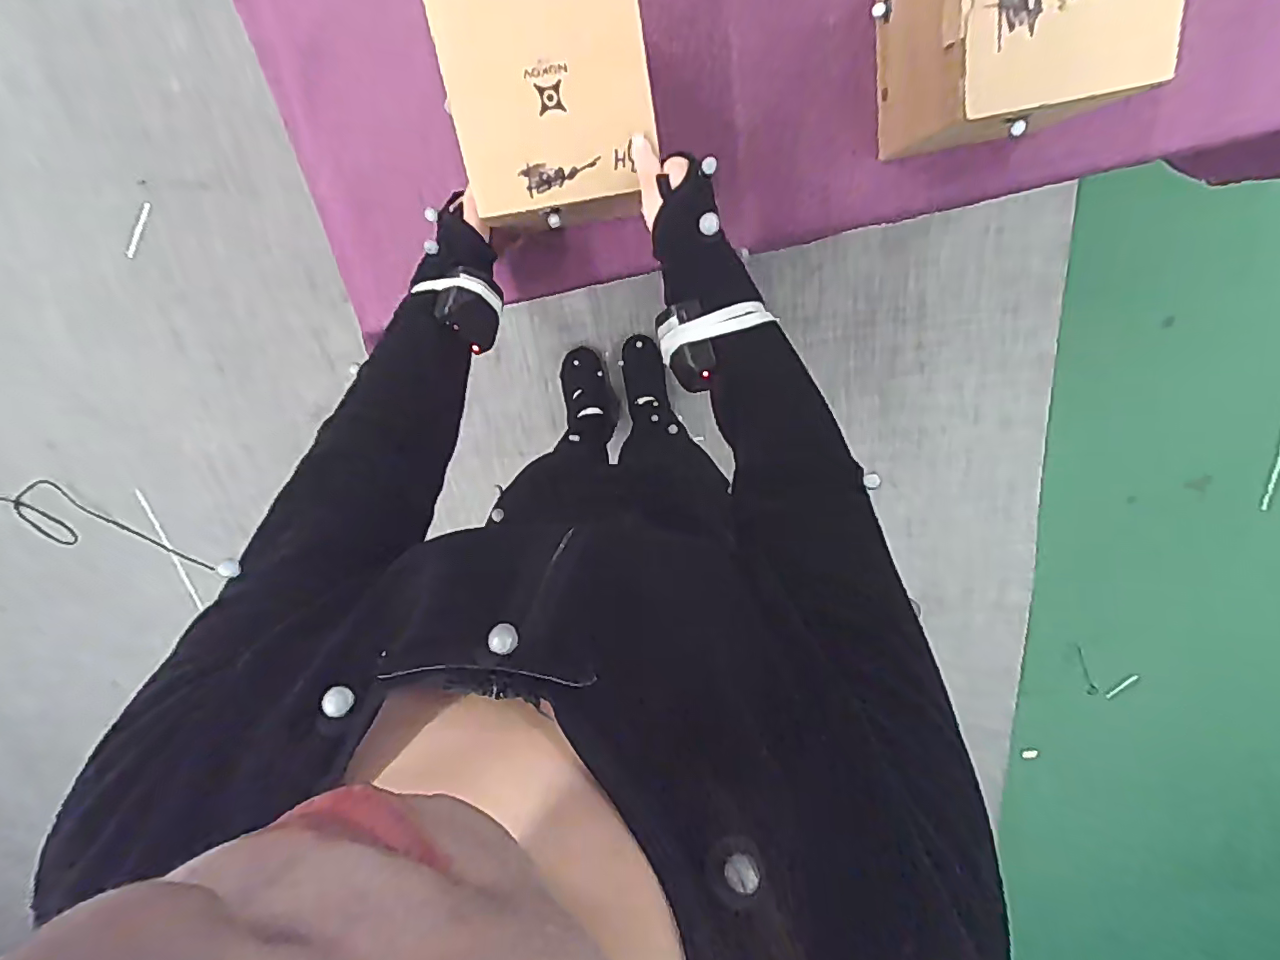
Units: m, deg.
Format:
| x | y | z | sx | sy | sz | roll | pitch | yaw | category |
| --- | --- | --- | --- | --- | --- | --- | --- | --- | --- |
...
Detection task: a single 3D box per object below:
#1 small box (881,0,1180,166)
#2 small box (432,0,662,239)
| x | y | z | sx | sy | sz | roll | pitch | yaw | category |
| --- | --- | --- | --- | --- | --- | --- | --- | --- | --- |
| 0.341 | -0.412 | 0.505 | 0.179 | 0.176 | 0.168 | -9 | 110 | 3 | small box |
| -0.081 | -0.343 | 0.520 | 0.168 | 0.176 | 0.179 | -10 | 110 | -2 | small box |
